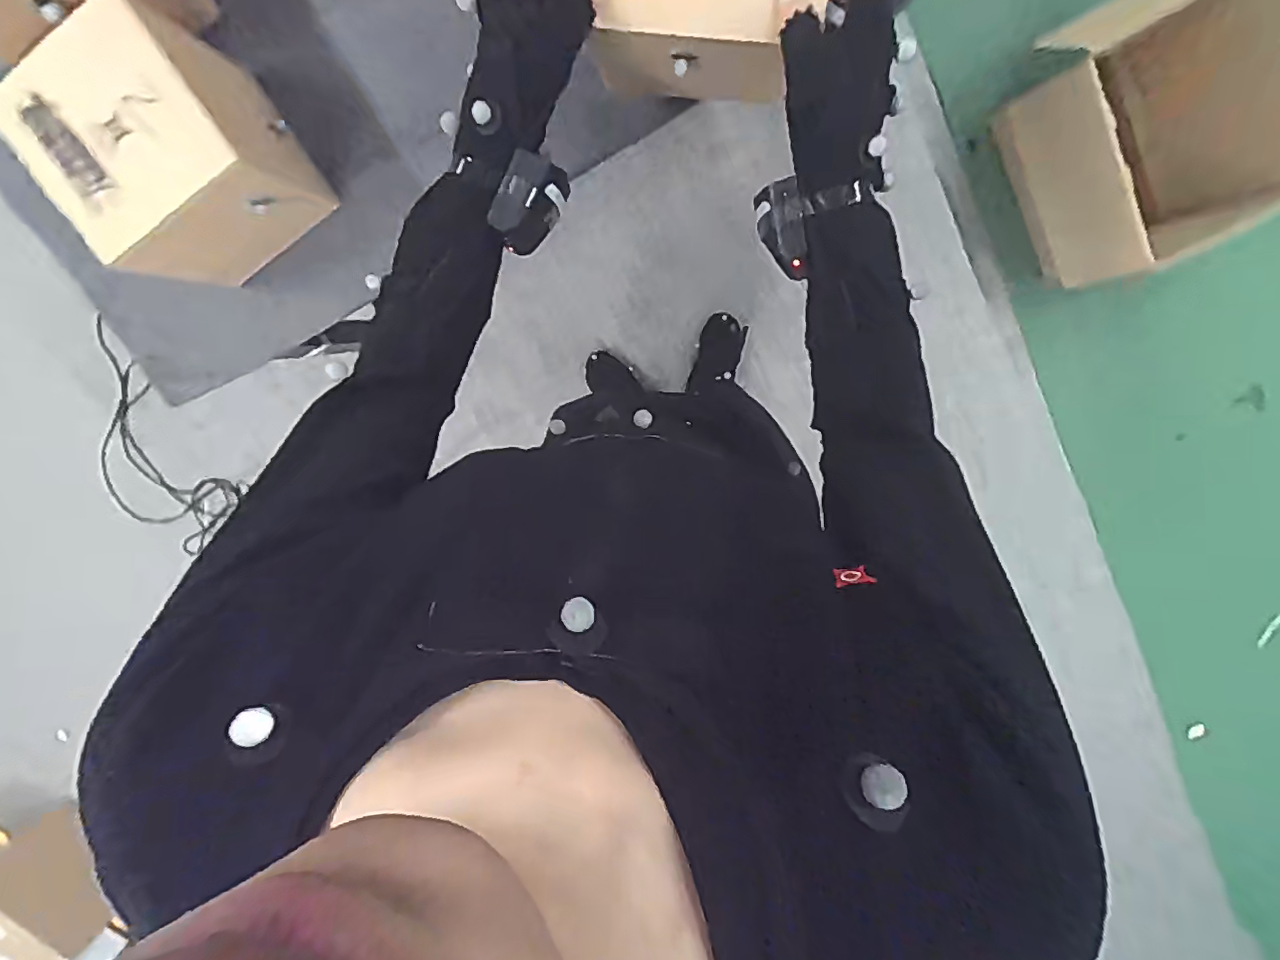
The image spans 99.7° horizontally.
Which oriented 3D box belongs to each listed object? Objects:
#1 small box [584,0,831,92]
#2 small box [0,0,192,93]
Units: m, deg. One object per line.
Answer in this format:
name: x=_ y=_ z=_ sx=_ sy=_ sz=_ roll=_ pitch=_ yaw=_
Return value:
small box: x=0.057 y=-0.429 z=0.426 sx=0.179 sy=0.176 sz=0.168 roll=5 pitch=114 yaw=0
small box: x=-0.589 y=-0.525 z=0.515 sx=0.179 sy=0.176 sz=0.168 roll=-29 pitch=104 yaw=10
